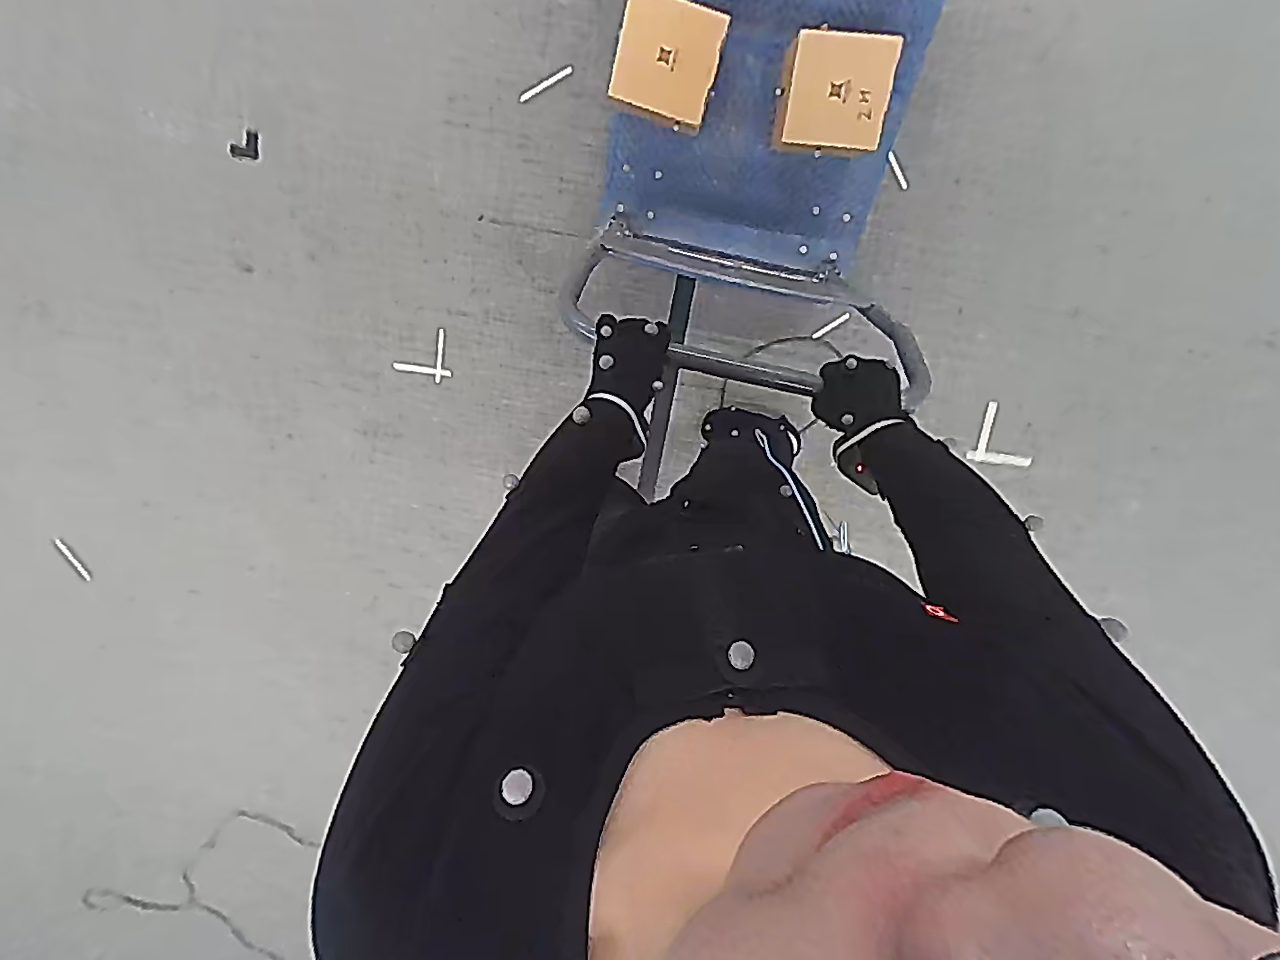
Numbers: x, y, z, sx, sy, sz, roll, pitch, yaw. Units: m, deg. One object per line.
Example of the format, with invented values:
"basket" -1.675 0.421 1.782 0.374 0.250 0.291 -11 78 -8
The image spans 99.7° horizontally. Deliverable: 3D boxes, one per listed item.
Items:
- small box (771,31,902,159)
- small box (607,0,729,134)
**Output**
"small box" 0.353 -0.710 1.015 0.179 0.176 0.168 7 118 2
"small box" 0.051 -0.770 1.011 0.179 0.176 0.168 16 117 -5
